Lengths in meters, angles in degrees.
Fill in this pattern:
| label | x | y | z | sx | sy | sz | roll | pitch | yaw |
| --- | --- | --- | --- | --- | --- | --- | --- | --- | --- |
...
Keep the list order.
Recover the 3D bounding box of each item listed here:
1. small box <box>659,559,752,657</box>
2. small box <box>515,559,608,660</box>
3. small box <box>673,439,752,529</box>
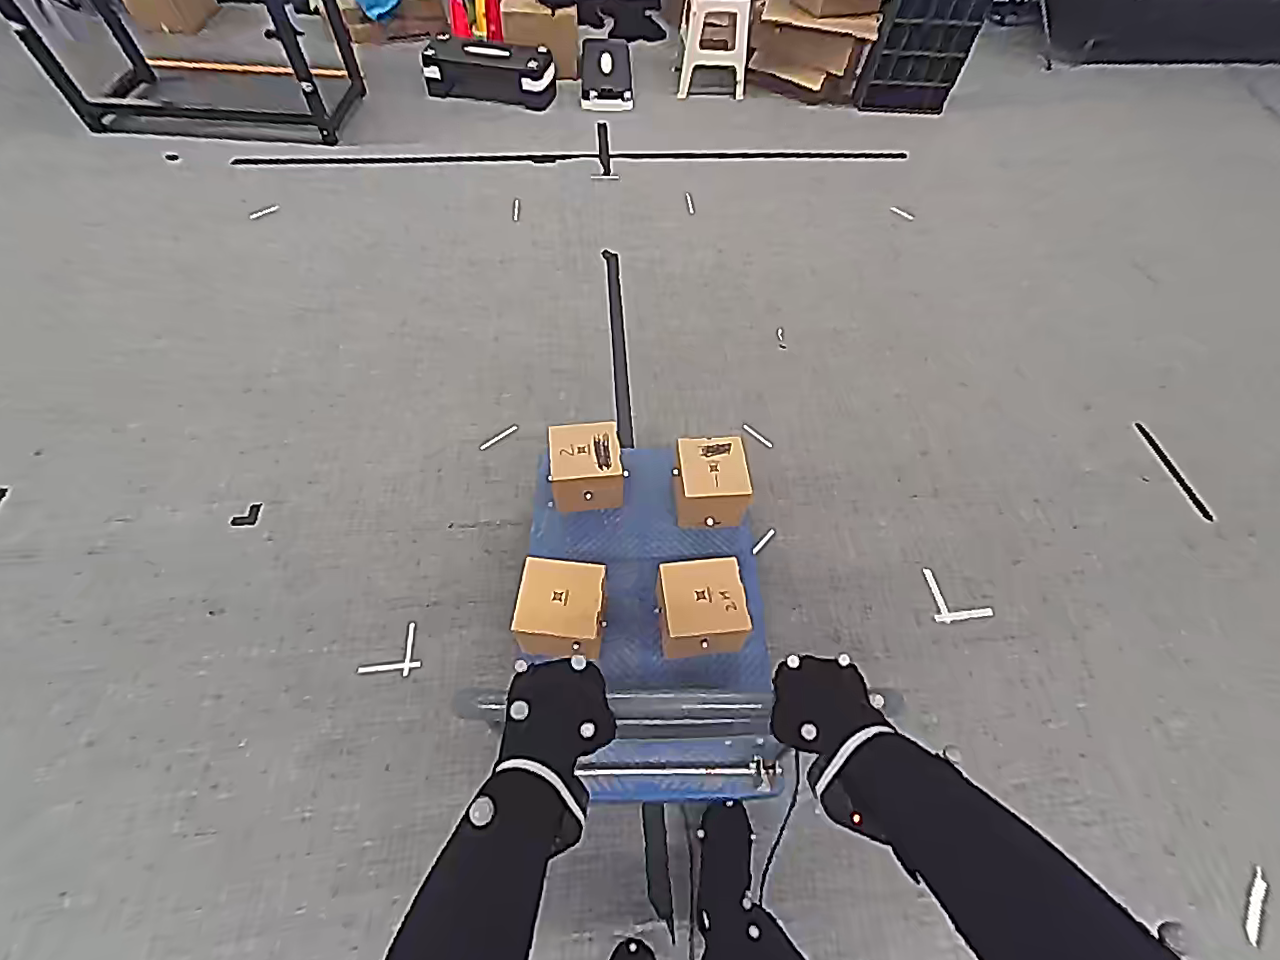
| label | x | y | z | sx | sy | sz | roll | pitch | yaw |
| --- | --- | --- | --- | --- | --- | --- | --- | --- | --- |
| small box | 0.138 | 0.294 | 1.226 | 0.179 | 0.176 | 0.168 | -4 | 58 | -5 |
| small box | -0.168 | 0.294 | 1.213 | 0.179 | 0.176 | 0.168 | 6 | 57 | 0 |
| small box | 0.181 | 0.012 | 1.408 | 0.168 | 0.176 | 0.179 | -3 | 59 | -4 |
